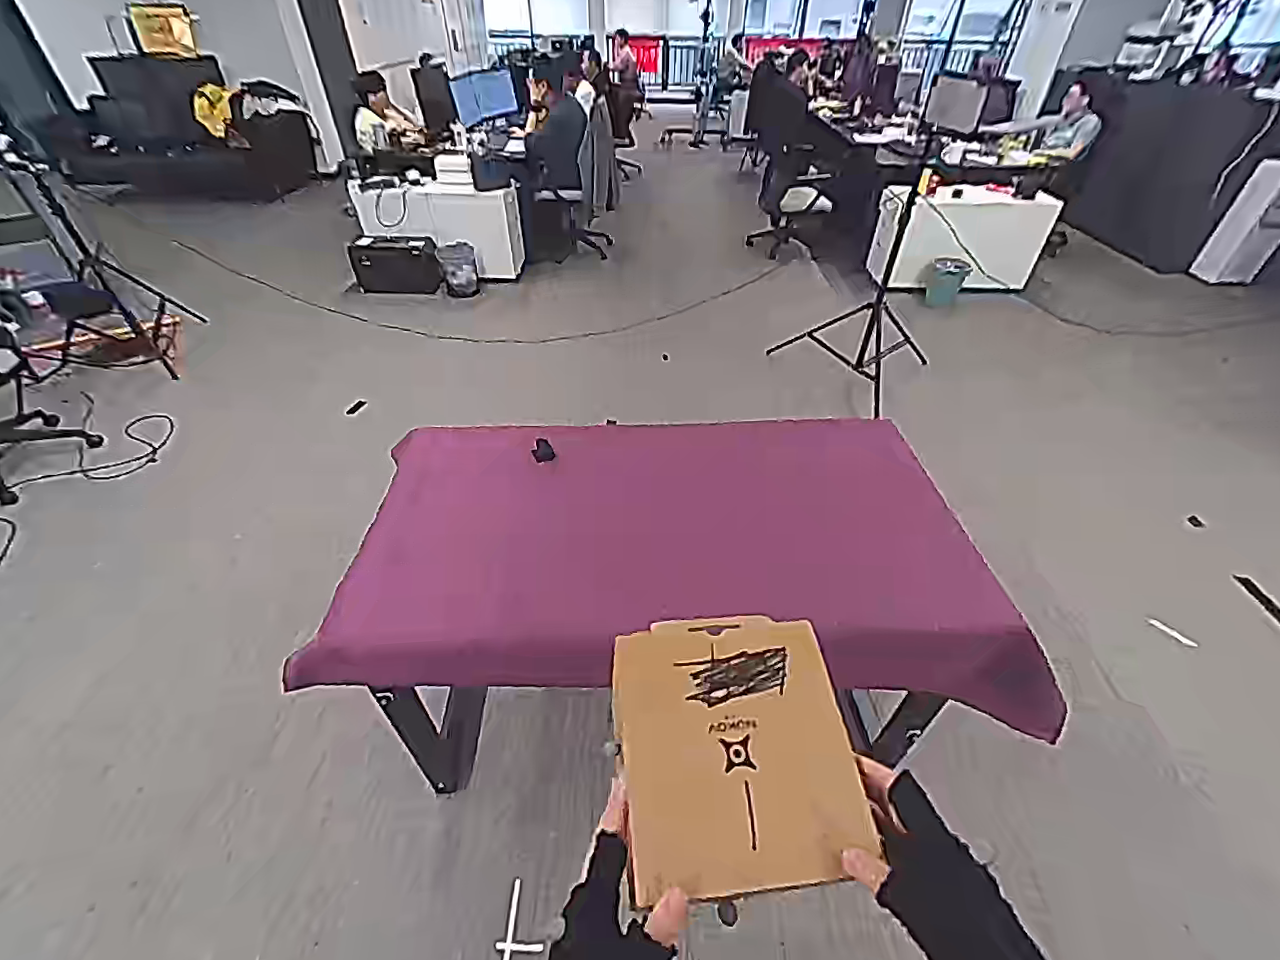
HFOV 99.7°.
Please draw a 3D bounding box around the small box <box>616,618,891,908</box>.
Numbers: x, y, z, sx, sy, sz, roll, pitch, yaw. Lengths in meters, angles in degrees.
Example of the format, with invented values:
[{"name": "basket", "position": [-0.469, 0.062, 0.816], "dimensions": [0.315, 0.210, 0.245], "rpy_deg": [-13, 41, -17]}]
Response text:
[{"name": "small box", "position": [0.068, 0.236, 0.450], "dimensions": [0.168, 0.176, 0.179], "rpy_deg": [-3, 51, -5]}]
